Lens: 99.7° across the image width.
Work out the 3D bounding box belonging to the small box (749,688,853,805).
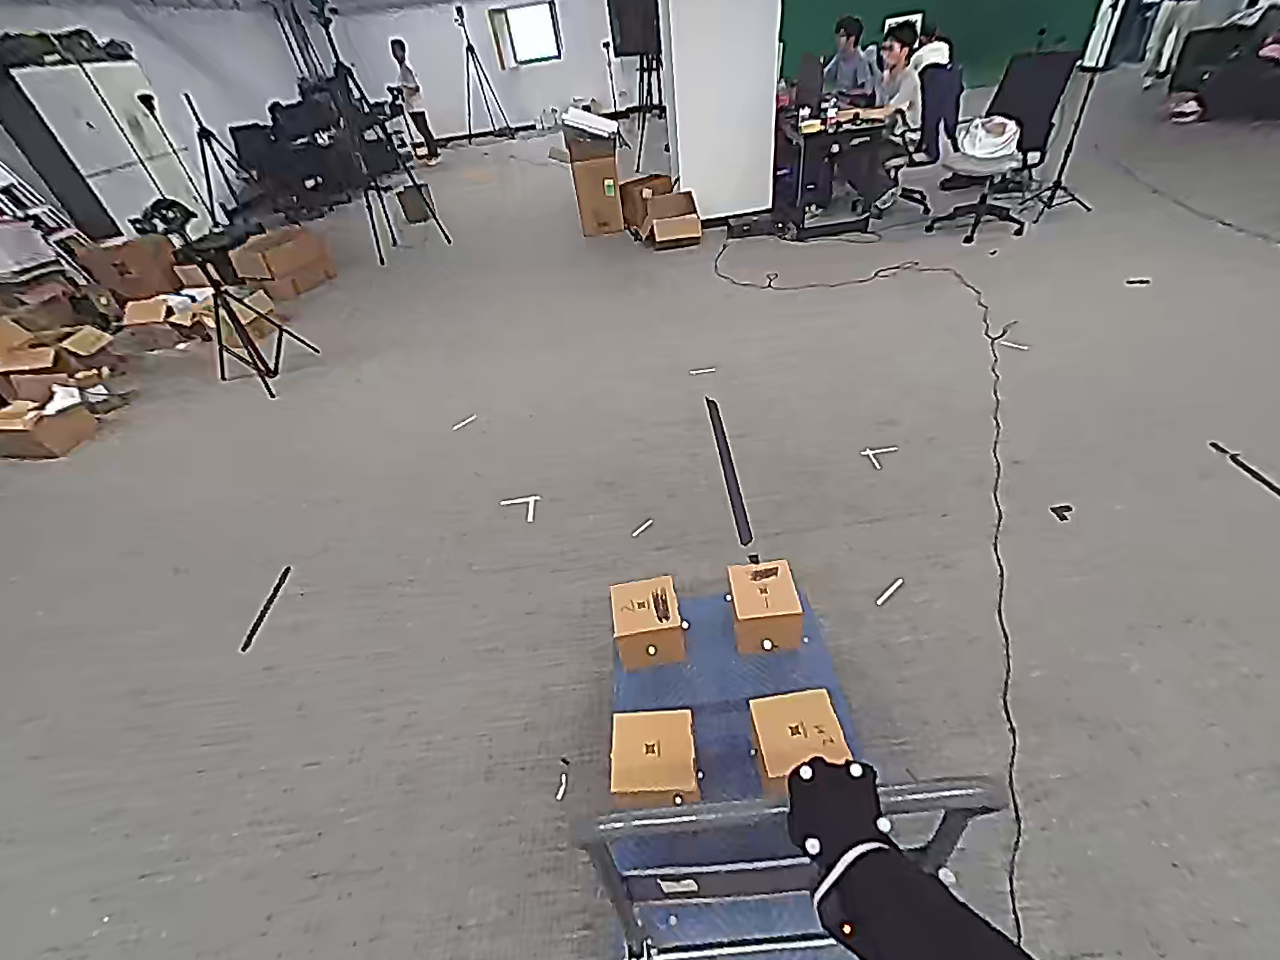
[{"bbox_3d":[0.345,0.587,1.185,0.179,0.176,0.168,-9,40,1],"label":"small box"}]

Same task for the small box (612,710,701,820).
[{"bbox_3d":[0.038,0.632,1.196,0.179,0.176,0.168,-5,39,3],"label":"small box"}]

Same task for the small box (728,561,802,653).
[{"bbox_3d":[0.333,0.346,1.474,0.168,0.176,0.179,-7,41,3],"label":"small box"}]
